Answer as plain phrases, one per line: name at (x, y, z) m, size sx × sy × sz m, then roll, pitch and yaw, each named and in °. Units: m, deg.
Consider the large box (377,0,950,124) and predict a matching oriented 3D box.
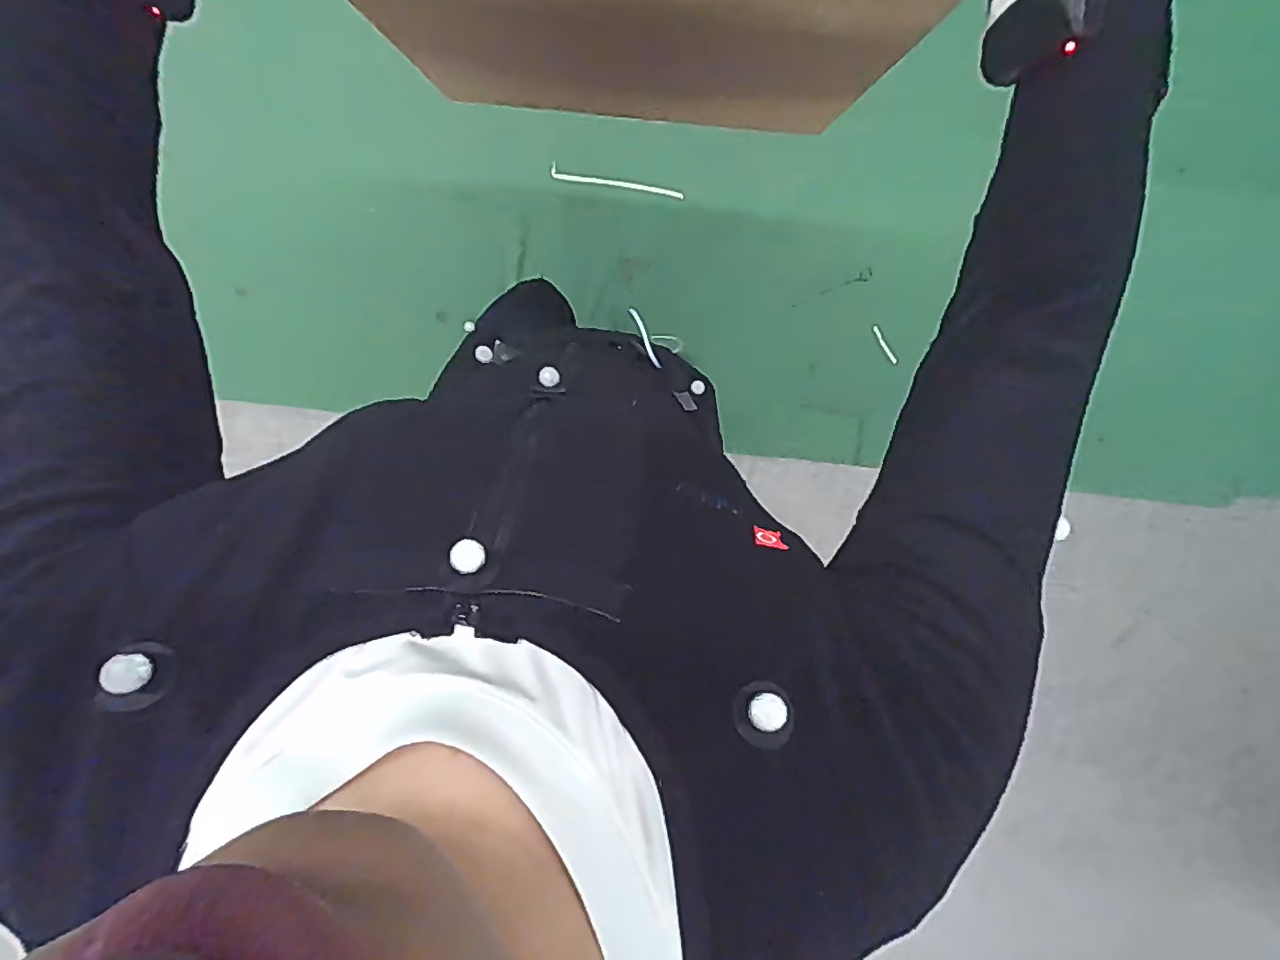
large box at (0.013, -0.490, 0.392) m, size 0.408 × 0.320 × 0.320 m, roll 4°, pitch 109°, yaw -2°
